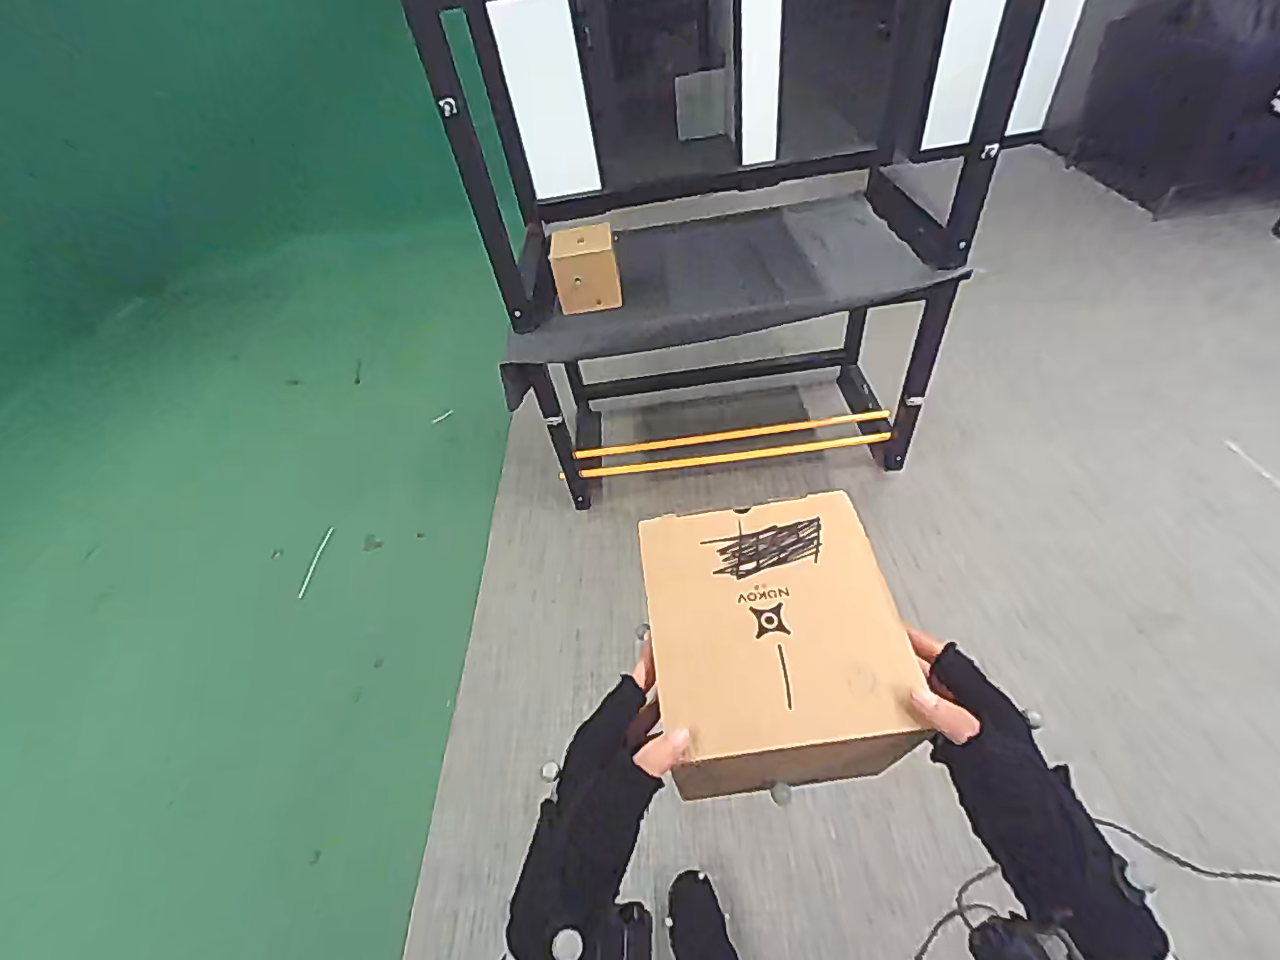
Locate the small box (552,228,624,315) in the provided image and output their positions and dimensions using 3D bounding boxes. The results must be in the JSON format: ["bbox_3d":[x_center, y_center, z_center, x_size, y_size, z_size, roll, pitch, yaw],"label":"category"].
[{"bbox_3d":[-0.140,-0.572,1.502,0.168,0.176,0.179,-8,45,3],"label":"small box"}]
